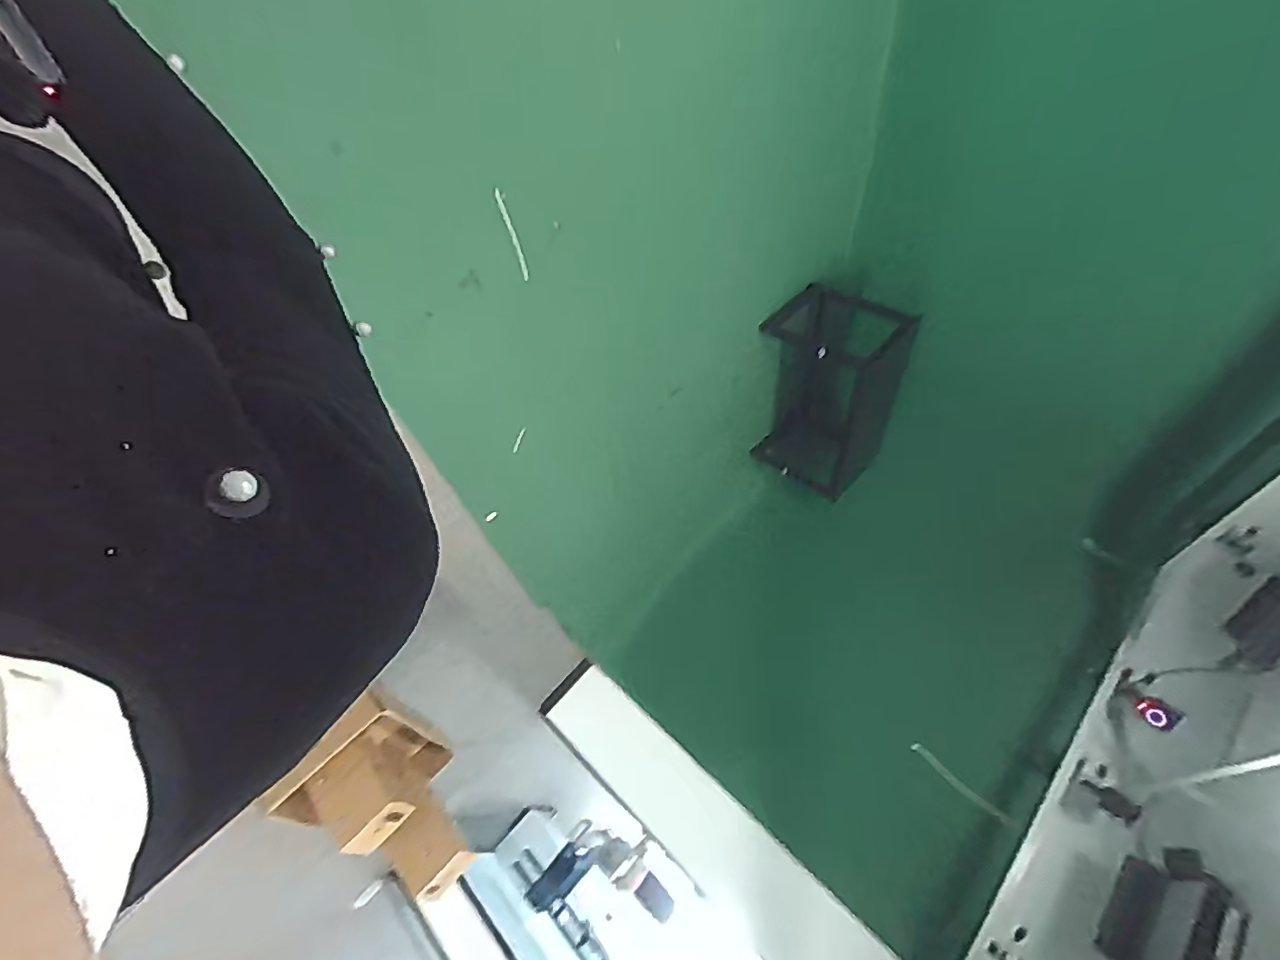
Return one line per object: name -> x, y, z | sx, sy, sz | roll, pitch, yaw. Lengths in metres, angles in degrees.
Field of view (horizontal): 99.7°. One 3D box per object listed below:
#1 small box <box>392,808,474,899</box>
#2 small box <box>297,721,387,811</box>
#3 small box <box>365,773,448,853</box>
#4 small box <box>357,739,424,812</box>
small box -> -0.692, 1.239, 1.795 | 0.179, 0.176, 0.168 | -43, 147, -24
small box -> -0.964, 0.918, 1.739 | 0.179, 0.176, 0.168 | -43, 149, -22
small box -> -0.811, 1.160, 1.878 | 0.179, 0.176, 0.168 | -42, 146, -25
small box -> -0.929, 1.078, 1.958 | 0.179, 0.176, 0.168 | -40, 146, -25
